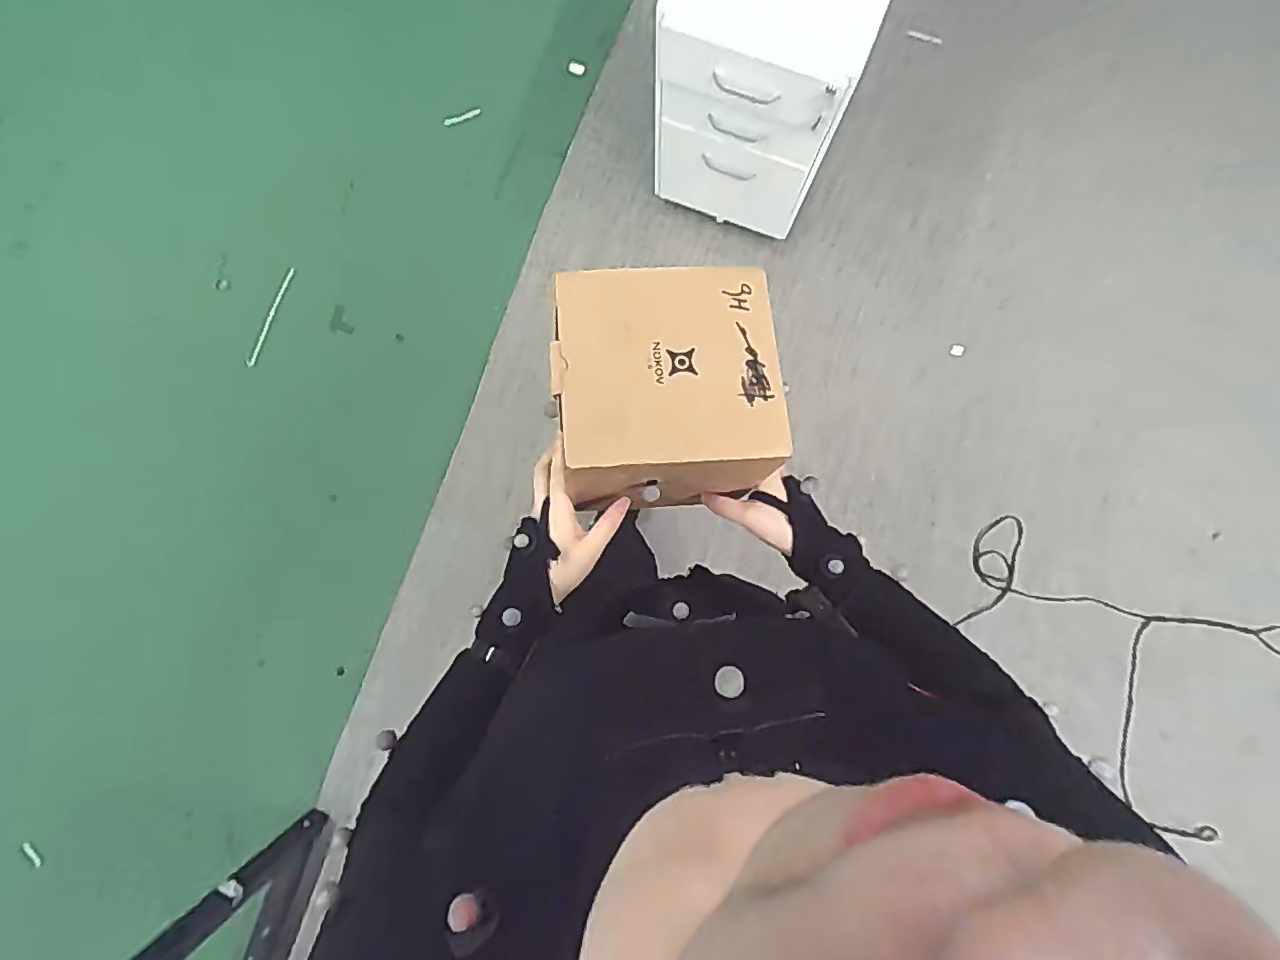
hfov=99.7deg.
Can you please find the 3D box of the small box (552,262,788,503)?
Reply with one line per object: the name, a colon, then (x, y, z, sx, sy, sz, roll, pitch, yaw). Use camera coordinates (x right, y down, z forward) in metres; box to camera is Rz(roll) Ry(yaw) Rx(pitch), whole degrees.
small box: (0.016, -0.077, 0.500, 0.179, 0.176, 0.168, -3, 76, -5)
